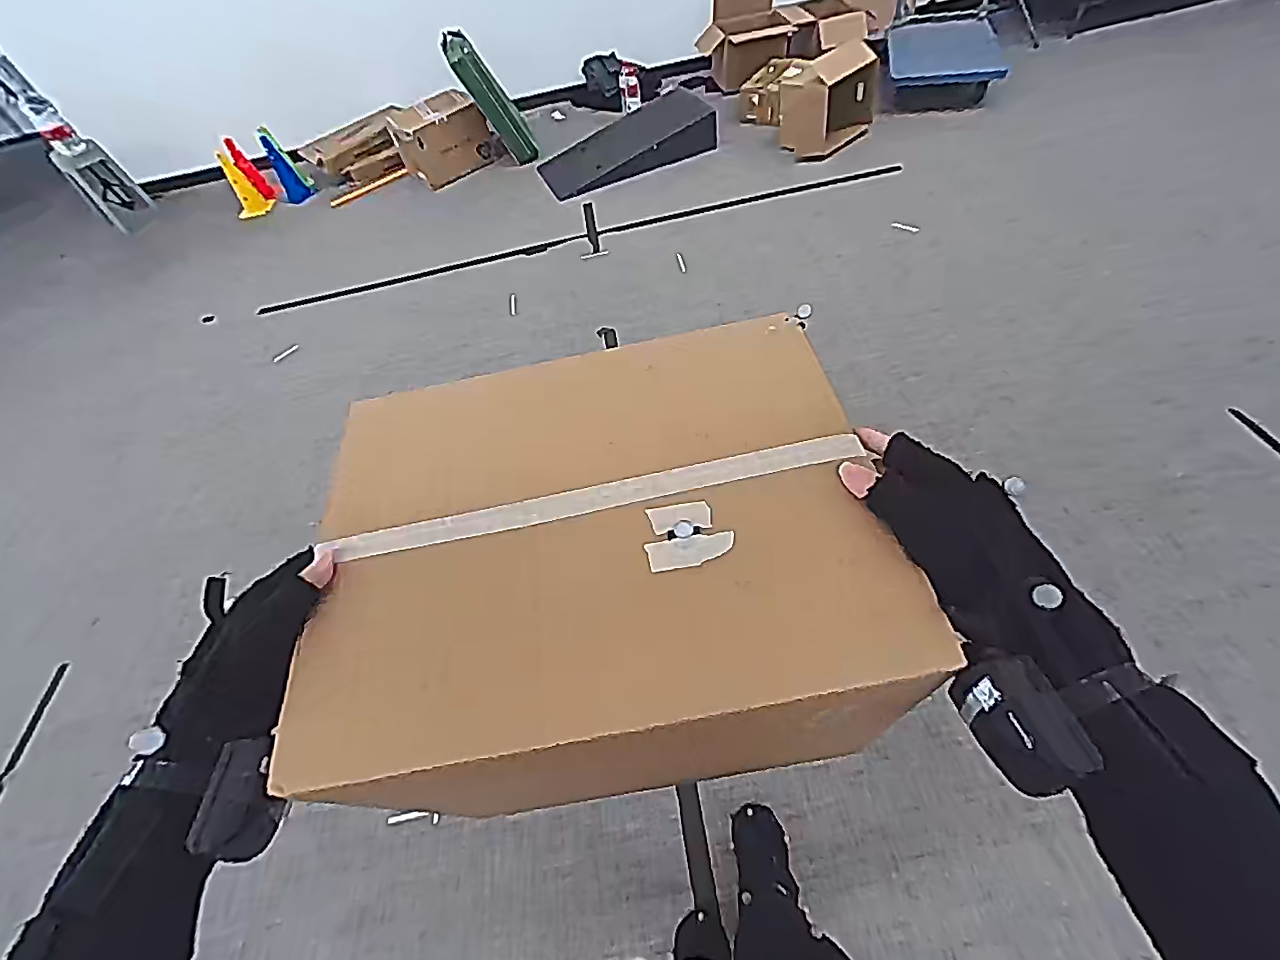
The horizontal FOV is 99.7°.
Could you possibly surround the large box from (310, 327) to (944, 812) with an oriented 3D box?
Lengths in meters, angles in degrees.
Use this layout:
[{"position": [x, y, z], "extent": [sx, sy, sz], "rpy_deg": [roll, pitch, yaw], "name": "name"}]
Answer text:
[{"position": [-0.014, 0.105, 0.532], "extent": [0.408, 0.320, 0.320], "rpy_deg": [-11, 56, 1], "name": "large box"}]
